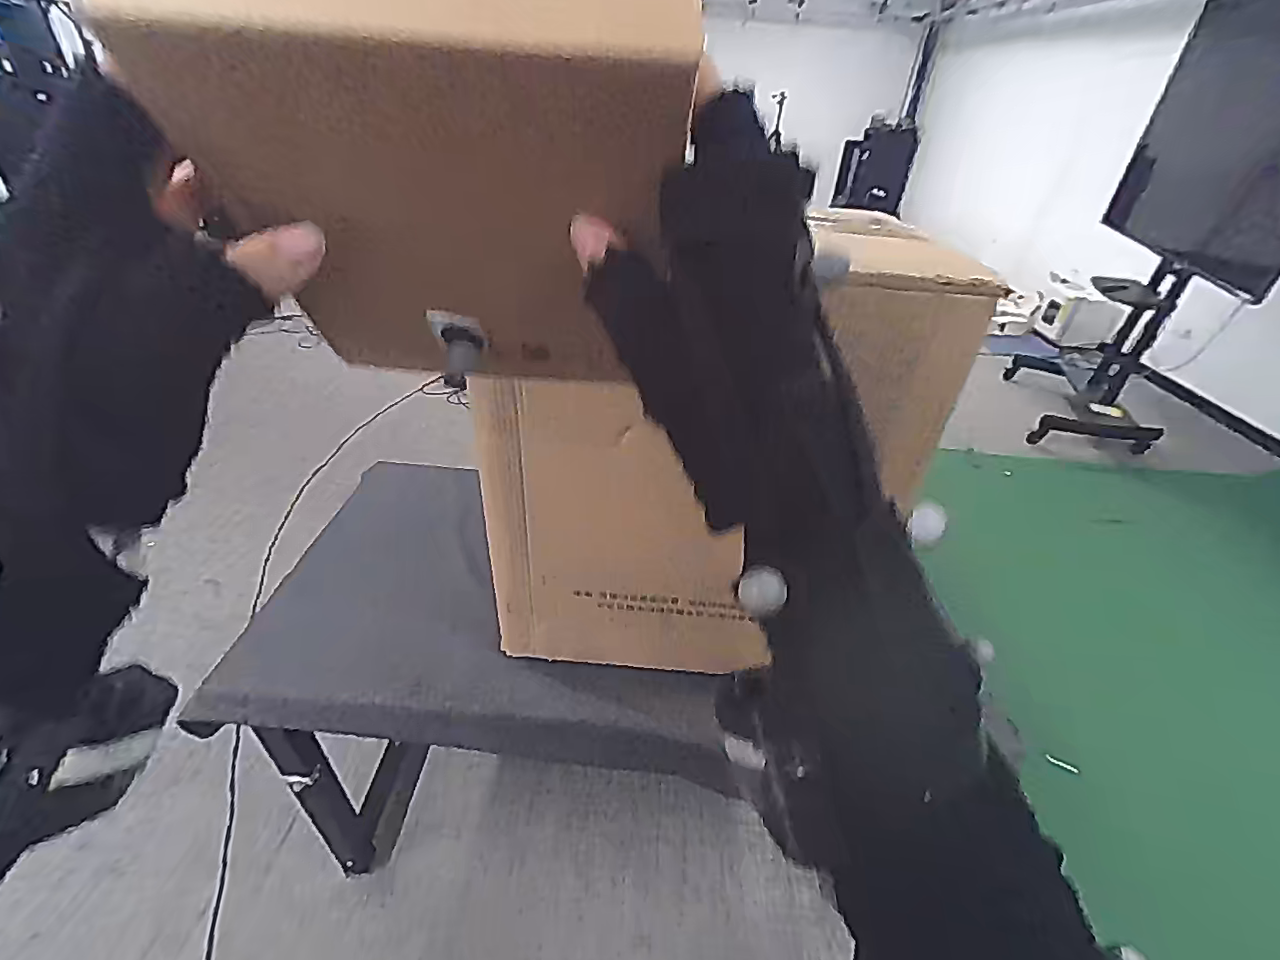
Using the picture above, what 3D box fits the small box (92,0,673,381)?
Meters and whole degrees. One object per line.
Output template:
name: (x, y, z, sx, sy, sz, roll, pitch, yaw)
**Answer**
small box: (-0.075, -0.170, 0.259, 0.168, 0.176, 0.179, 1, 67, -2)
